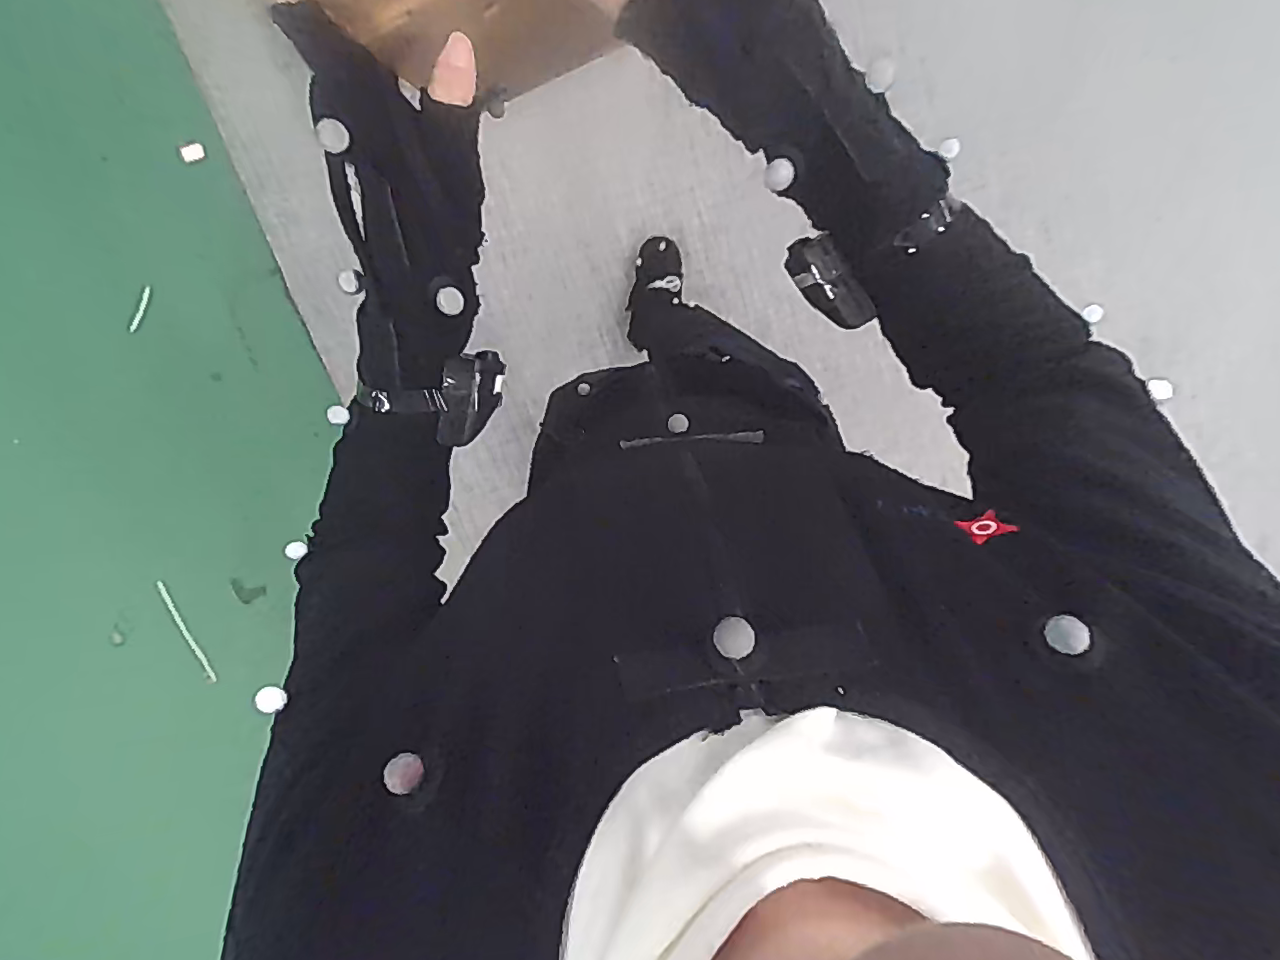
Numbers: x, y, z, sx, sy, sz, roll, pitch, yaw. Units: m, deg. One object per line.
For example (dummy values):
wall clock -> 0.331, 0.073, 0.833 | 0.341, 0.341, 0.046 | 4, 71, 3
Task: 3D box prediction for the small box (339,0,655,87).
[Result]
small box -> -0.092, -0.353, 0.296 | 0.168, 0.176, 0.179 | -19, 109, 9
